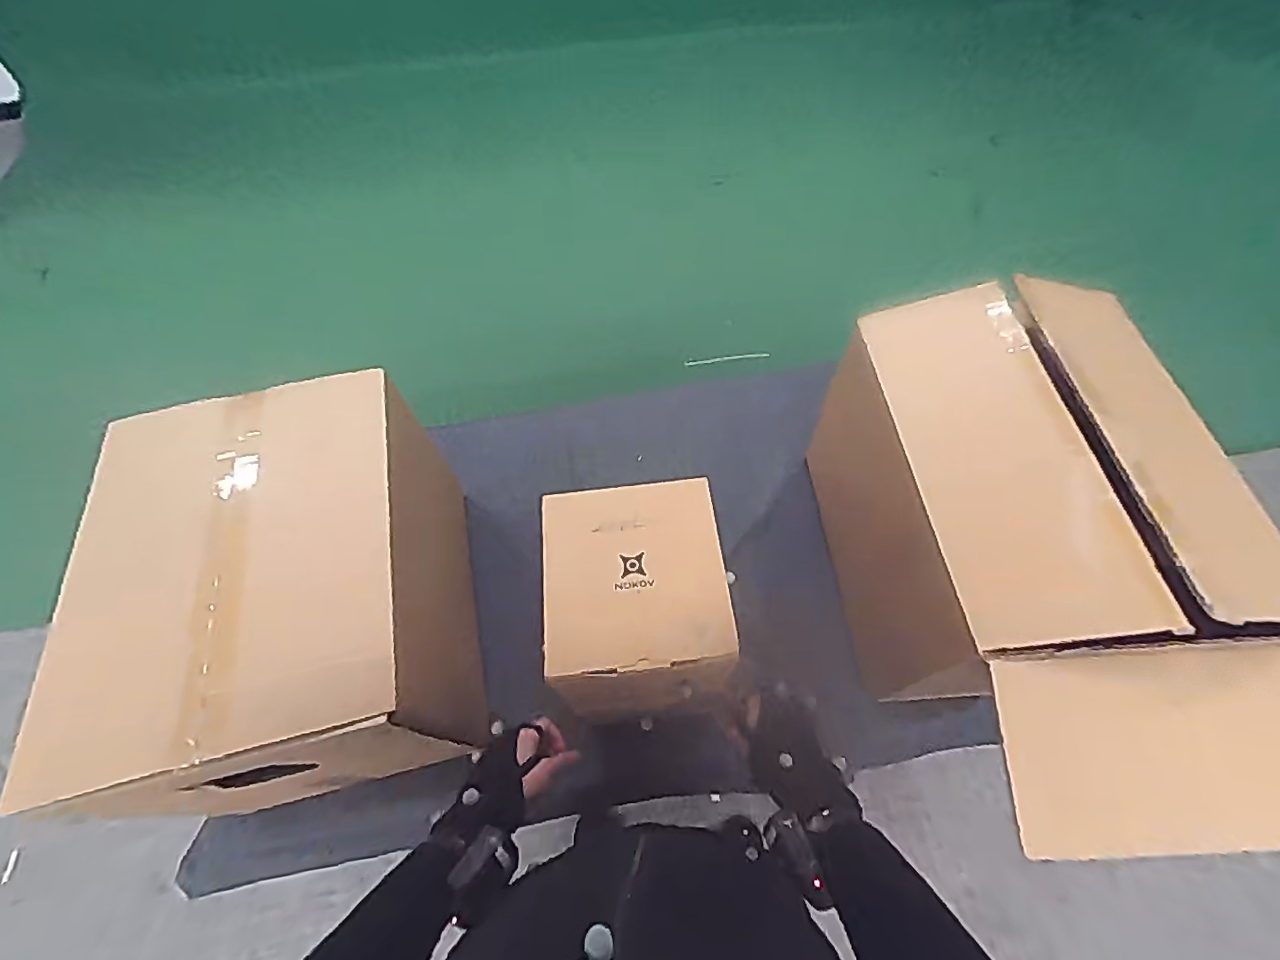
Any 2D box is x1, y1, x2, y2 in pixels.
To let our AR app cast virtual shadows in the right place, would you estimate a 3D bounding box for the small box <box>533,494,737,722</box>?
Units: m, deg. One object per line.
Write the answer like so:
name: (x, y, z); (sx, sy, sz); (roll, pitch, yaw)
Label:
small box: (-0.008, 0.135, 0.535); (0.168, 0.176, 0.179); (-6, 60, -2)
